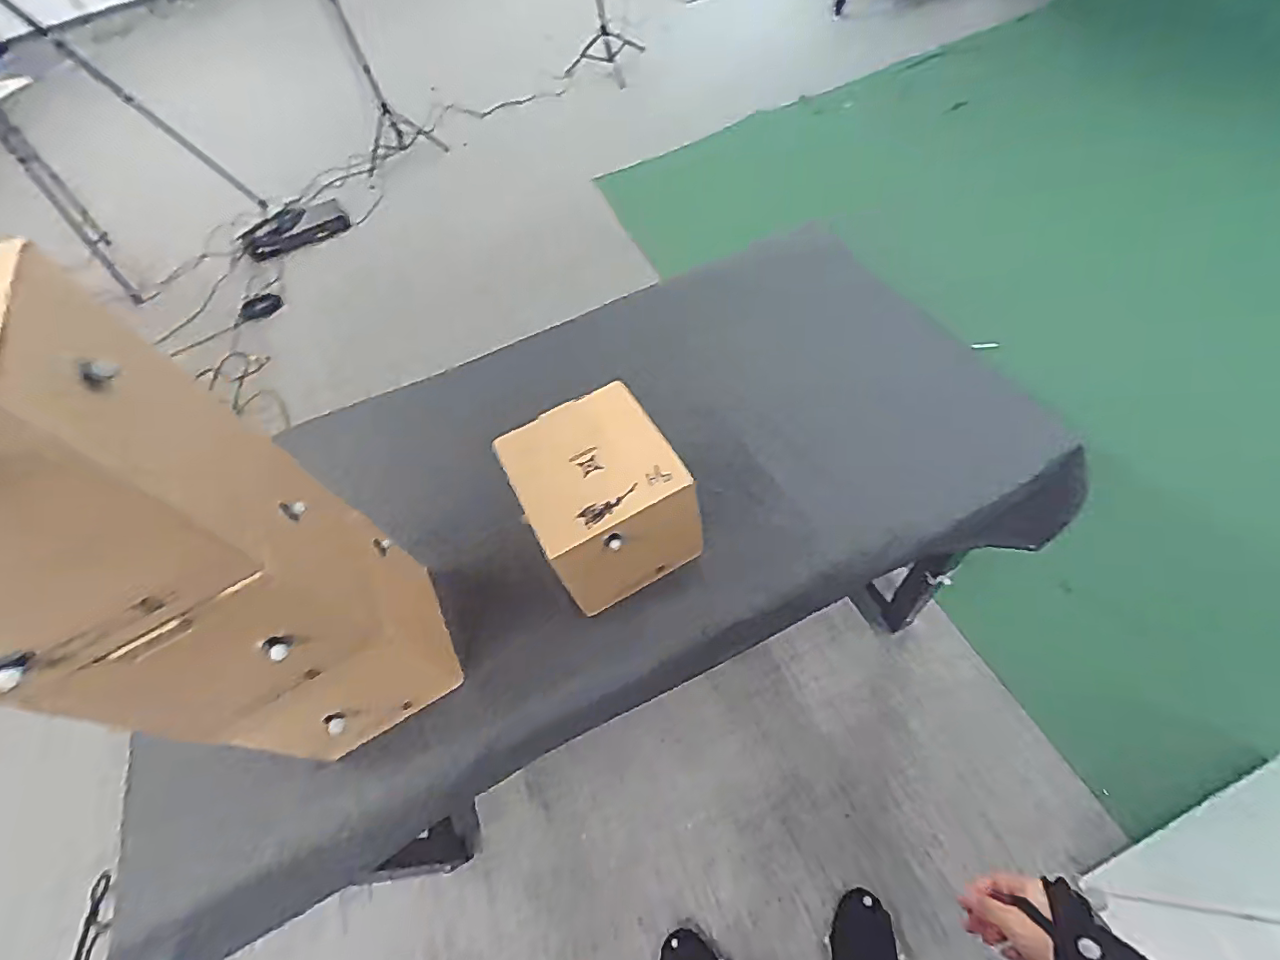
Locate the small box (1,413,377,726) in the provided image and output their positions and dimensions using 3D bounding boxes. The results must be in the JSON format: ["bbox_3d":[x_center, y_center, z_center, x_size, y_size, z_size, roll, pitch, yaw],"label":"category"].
[{"bbox_3d":[-0.354,0.084,0.458,0.168,0.176,0.179,-29,56,-11],"label":"small box"}]

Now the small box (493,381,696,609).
[{"bbox_3d":[-0.047,0.022,0.643,0.168,0.176,0.179,-28,56,-9],"label":"small box"}]

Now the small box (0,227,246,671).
[{"bbox_3d":[-0.377,-0.008,0.323,0.168,0.176,0.179,-31,56,-12],"label":"small box"}]

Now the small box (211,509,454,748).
[{"bbox_3d":[-0.331,0.170,0.594,0.168,0.176,0.179,-29,57,-10],"label":"small box"}]
